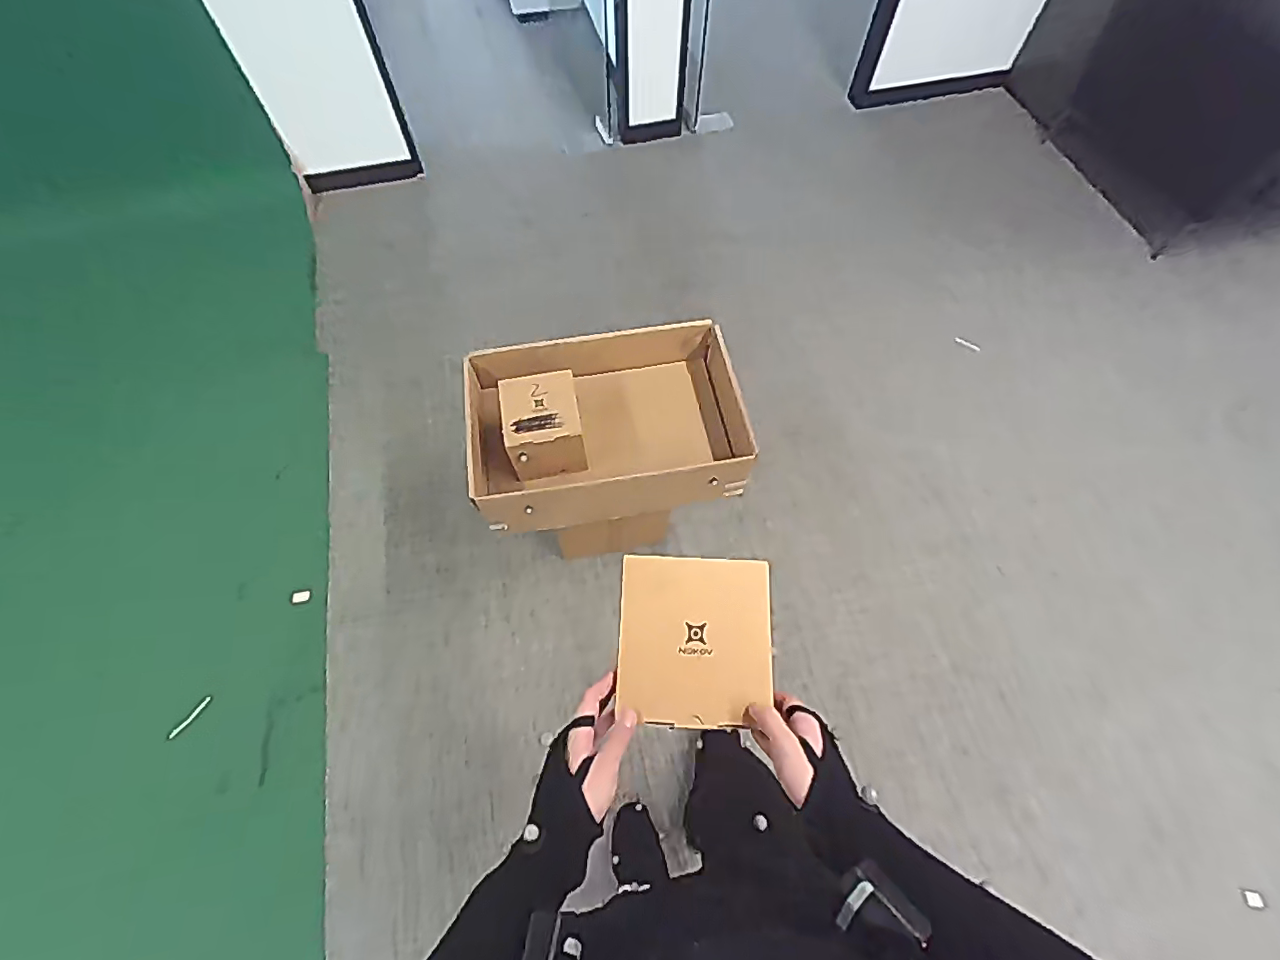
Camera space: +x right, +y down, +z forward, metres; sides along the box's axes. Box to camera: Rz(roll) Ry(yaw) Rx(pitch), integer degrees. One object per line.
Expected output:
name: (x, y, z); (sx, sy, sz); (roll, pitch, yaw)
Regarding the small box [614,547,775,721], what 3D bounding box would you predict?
small box: (0.056, 0.186, 0.652); (0.168, 0.176, 0.179); (3, 71, -2)
